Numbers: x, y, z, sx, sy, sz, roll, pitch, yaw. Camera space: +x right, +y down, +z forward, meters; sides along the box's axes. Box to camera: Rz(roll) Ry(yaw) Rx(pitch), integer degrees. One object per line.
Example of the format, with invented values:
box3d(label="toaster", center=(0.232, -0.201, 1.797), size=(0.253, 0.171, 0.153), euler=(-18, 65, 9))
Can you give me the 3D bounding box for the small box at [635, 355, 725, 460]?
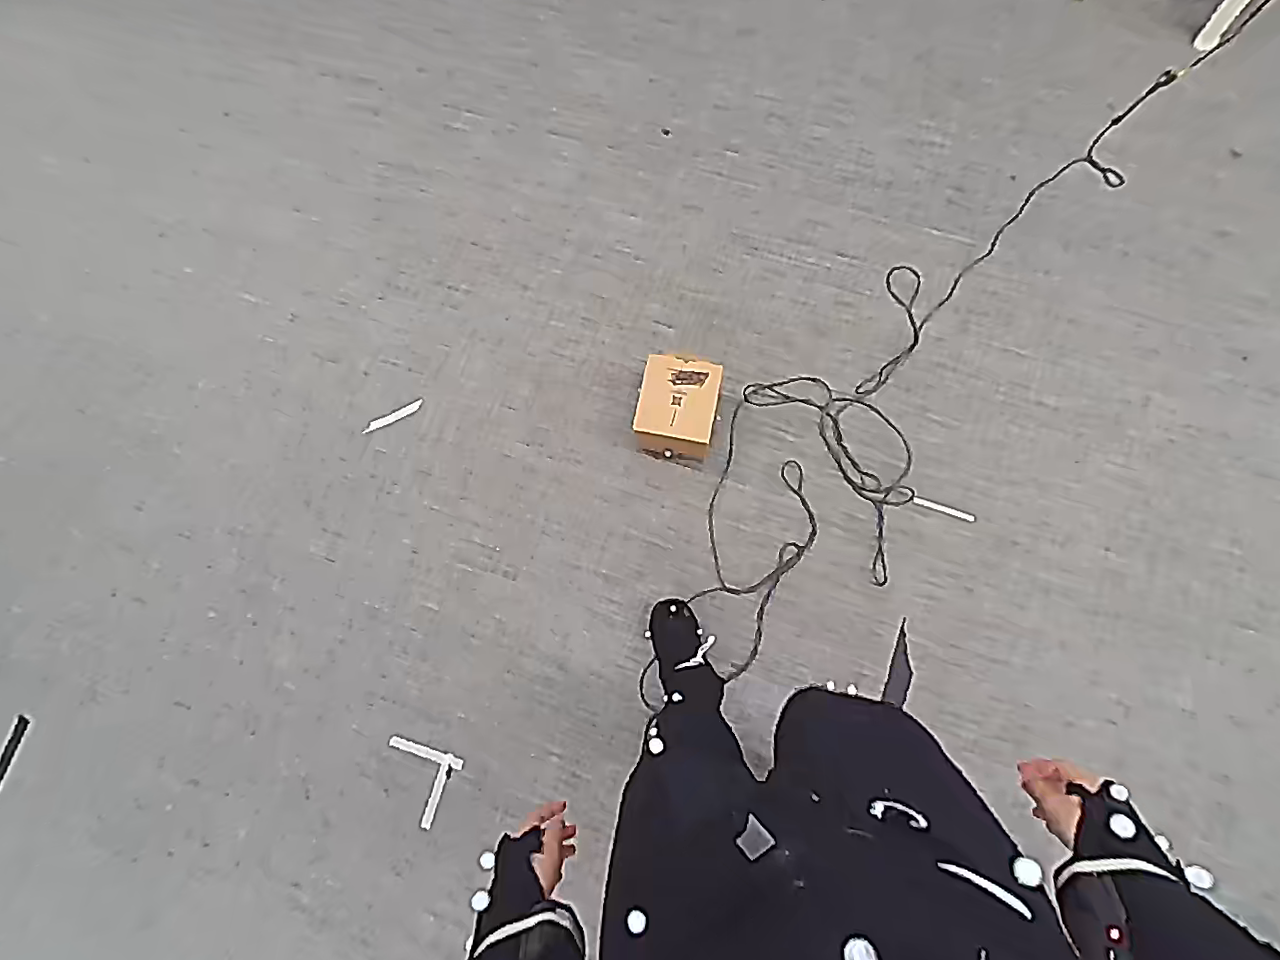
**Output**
box3d(label="small box", center=(0.090, -0.157, 1.220), size=(0.168, 0.176, 0.179), euler=(11, 81, 7))
